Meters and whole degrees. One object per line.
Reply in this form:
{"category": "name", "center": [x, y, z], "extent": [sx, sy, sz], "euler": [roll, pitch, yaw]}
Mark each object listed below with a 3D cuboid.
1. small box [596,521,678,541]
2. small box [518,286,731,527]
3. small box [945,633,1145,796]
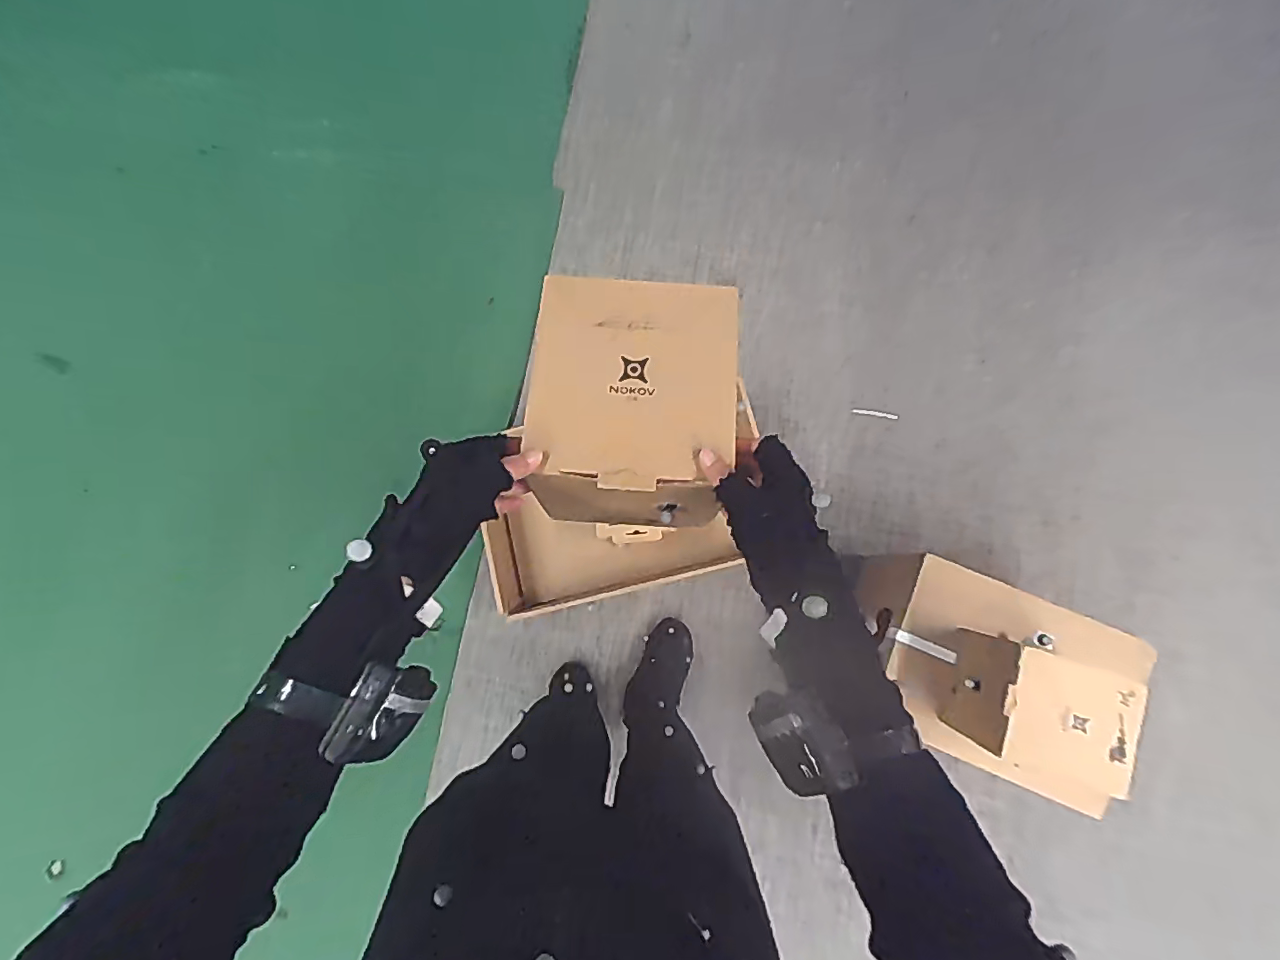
{"category": "small box", "center": [-0.007, 0.042, 1.191], "extent": [0.168, 0.176, 0.179], "euler": [-6, 79, 3]}
{"category": "small box", "center": [-0.008, -0.057, 0.512], "extent": [0.168, 0.176, 0.179], "euler": [3, 72, 0]}
{"category": "small box", "center": [0.611, 0.346, 0.840], "extent": [0.179, 0.176, 0.168], "euler": [17, 84, 6]}
